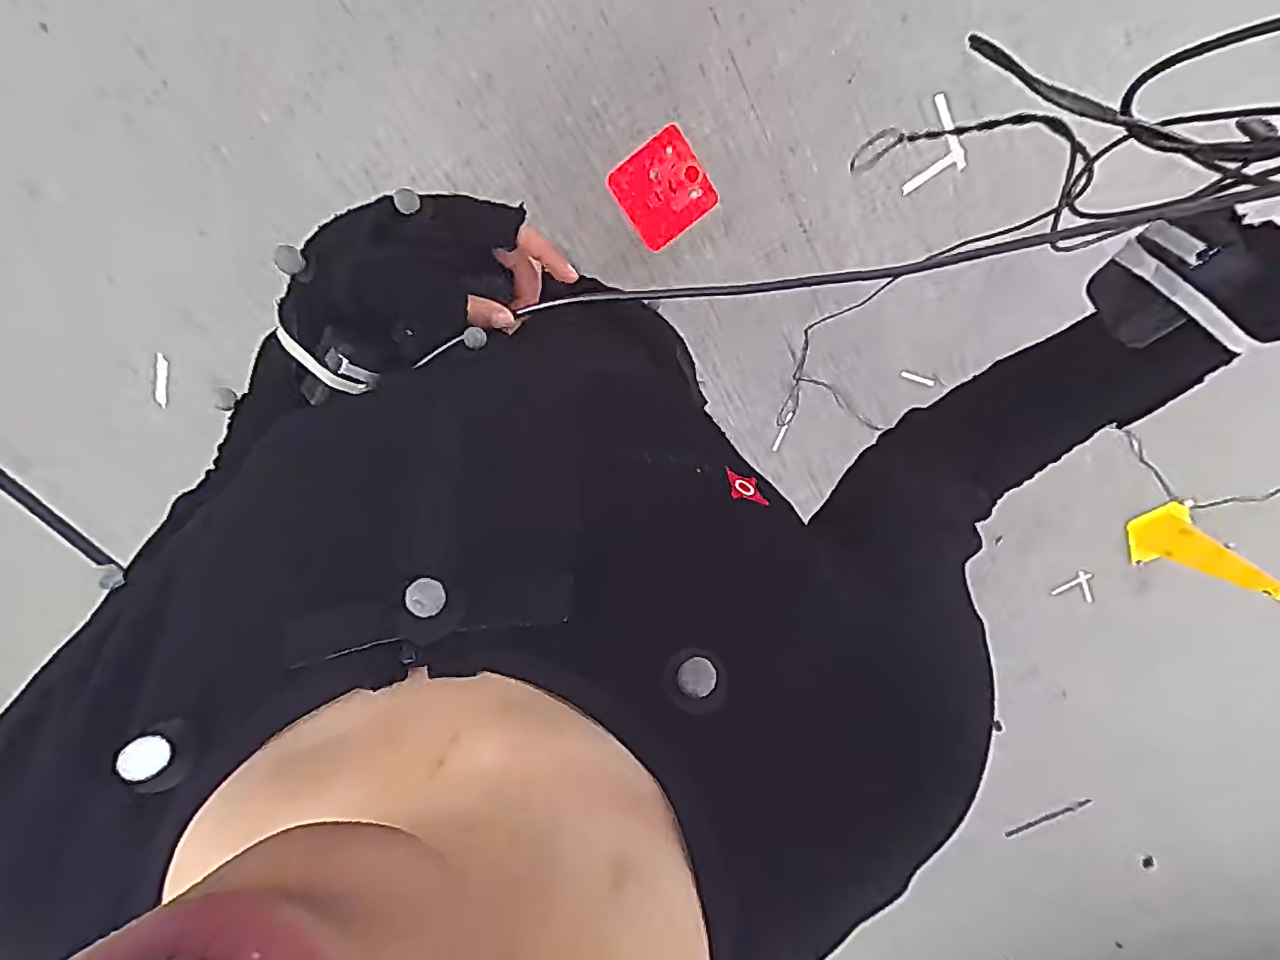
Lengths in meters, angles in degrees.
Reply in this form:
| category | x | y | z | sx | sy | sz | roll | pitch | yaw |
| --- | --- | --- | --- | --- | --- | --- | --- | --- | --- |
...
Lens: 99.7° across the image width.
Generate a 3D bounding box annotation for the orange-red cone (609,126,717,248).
| category | x | y | z | sx | sy | sz | roll | pitch | yaw |
| --- | --- | --- | --- | --- | --- | --- | --- | --- | --- |
| orange-red cone | 0.067 | -0.595 | 1.082 | 0.199 | 0.360 | 0.198 | -34 | 112 | 11 |
